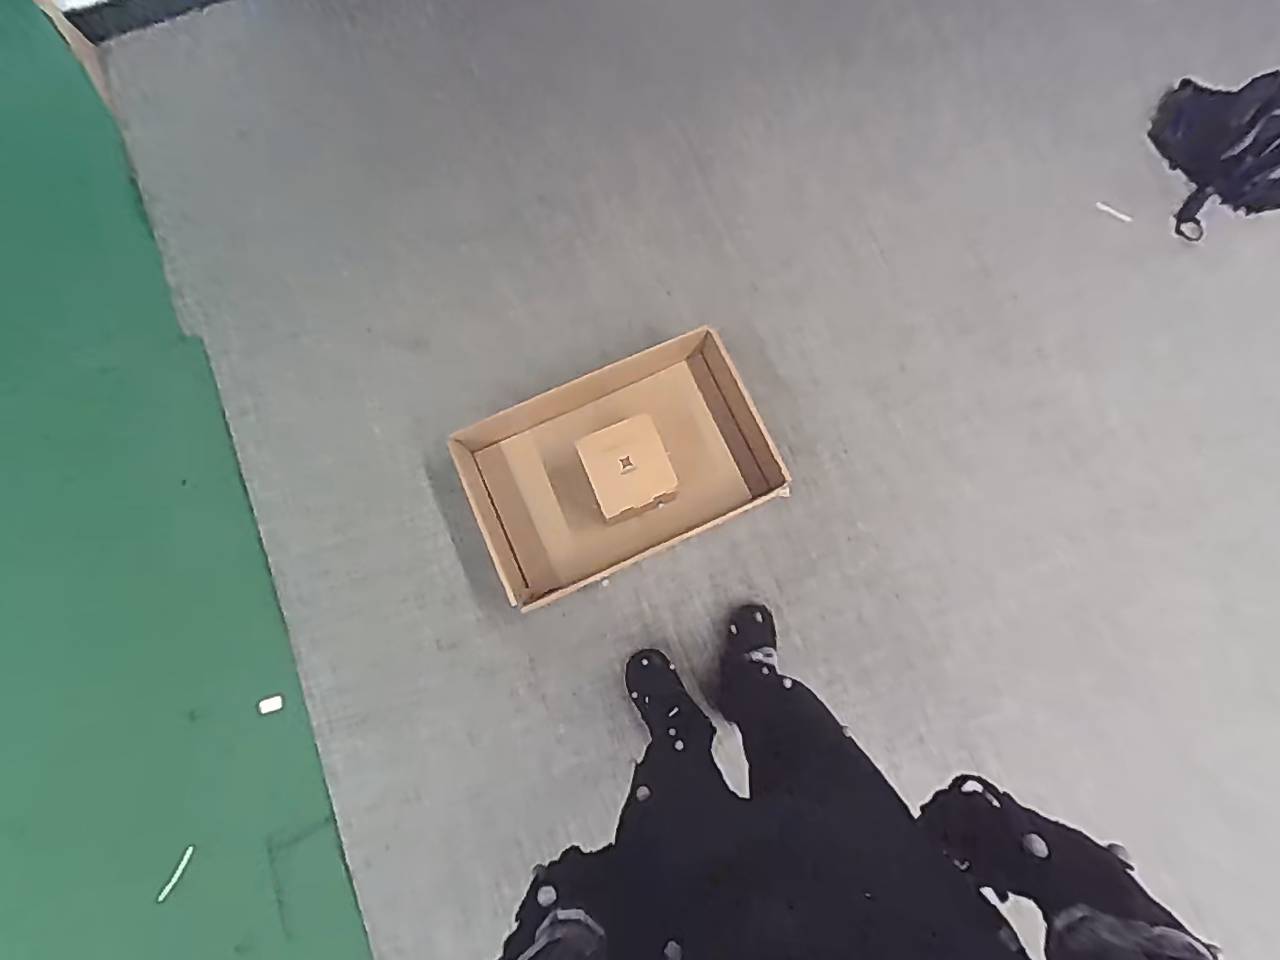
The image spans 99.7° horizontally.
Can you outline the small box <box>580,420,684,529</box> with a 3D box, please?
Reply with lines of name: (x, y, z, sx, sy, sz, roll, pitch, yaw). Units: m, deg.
small box: (-0.015, -0.002, 1.169, 0.168, 0.176, 0.179, -22, 79, -4)
